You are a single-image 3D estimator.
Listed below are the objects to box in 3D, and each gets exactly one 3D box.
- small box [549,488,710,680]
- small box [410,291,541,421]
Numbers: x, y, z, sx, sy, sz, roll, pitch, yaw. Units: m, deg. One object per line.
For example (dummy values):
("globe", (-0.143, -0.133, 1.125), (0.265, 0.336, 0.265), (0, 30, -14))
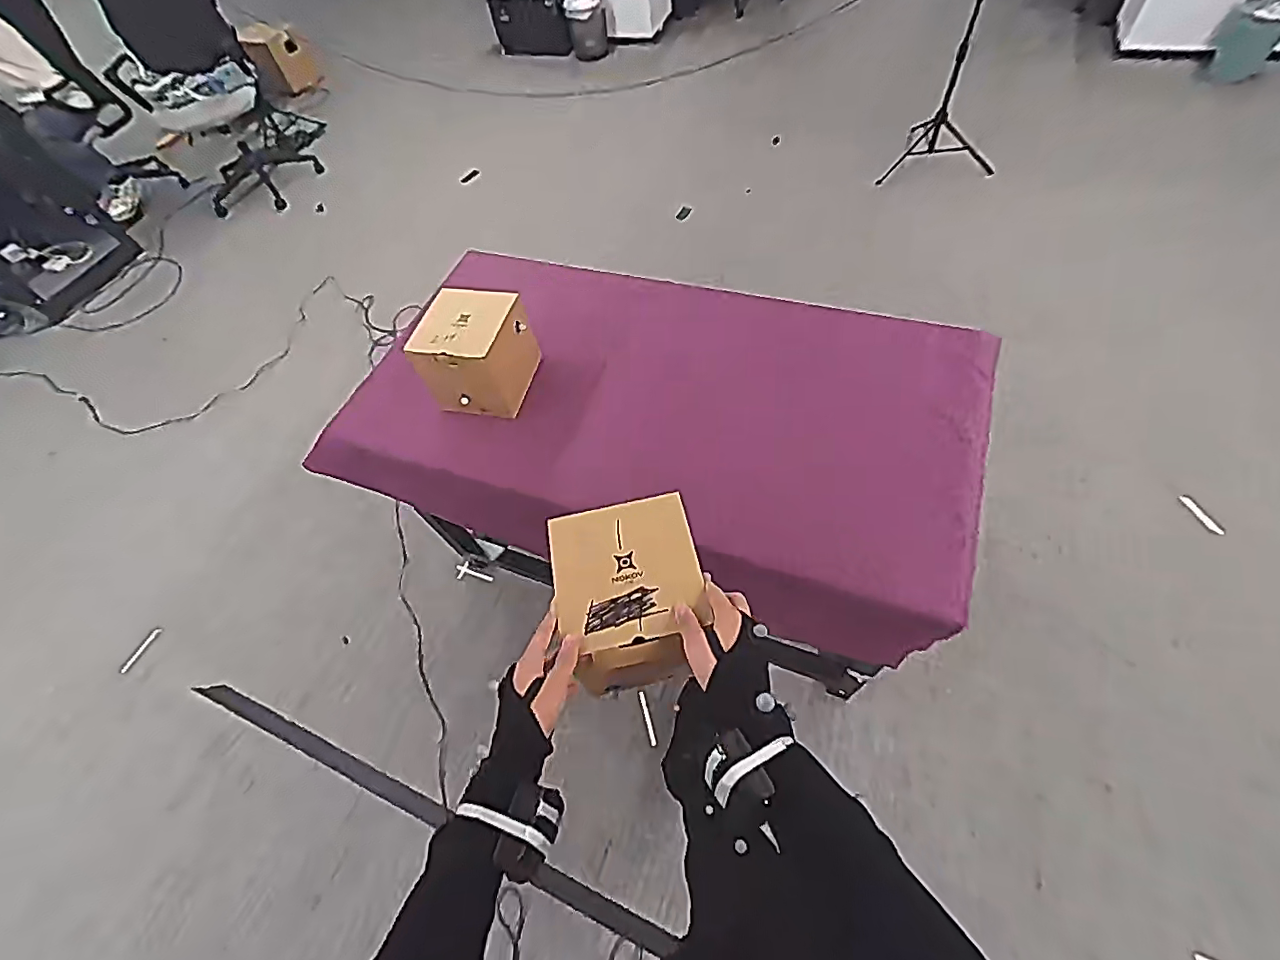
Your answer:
("small box", (-0.009, 0.140, 0.683), (0.168, 0.176, 0.179), (-12, 55, -2))
("small box", (-0.310, -0.244, 1.066), (0.168, 0.176, 0.179), (9, 60, 13))
